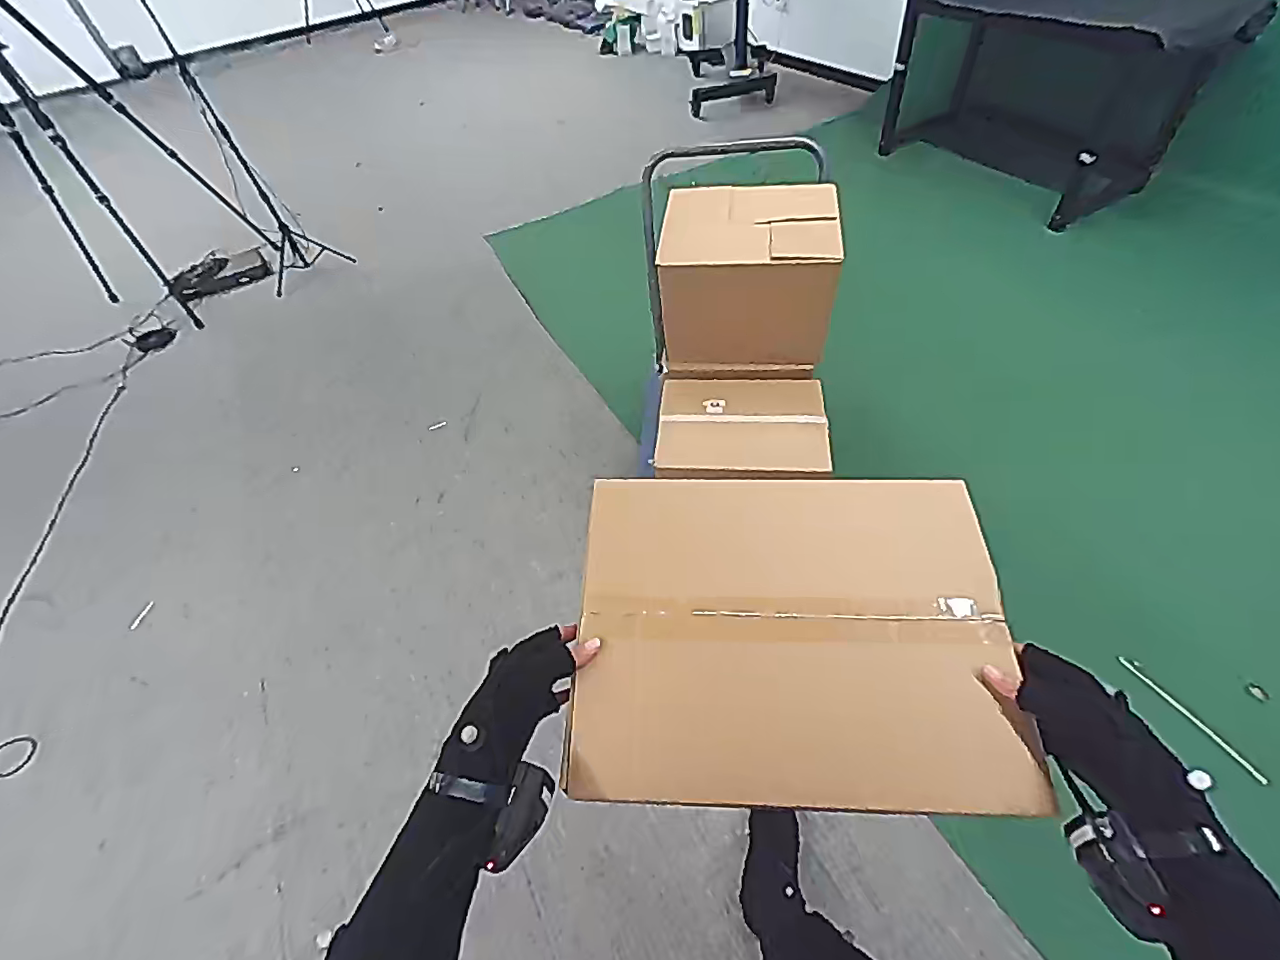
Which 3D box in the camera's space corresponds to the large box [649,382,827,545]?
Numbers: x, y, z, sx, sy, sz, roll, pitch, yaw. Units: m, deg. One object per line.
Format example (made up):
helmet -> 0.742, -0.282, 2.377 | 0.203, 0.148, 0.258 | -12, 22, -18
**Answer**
large box -> 0.252, -0.040, 1.429 | 0.408, 0.320, 0.320 | 1, 51, 10
